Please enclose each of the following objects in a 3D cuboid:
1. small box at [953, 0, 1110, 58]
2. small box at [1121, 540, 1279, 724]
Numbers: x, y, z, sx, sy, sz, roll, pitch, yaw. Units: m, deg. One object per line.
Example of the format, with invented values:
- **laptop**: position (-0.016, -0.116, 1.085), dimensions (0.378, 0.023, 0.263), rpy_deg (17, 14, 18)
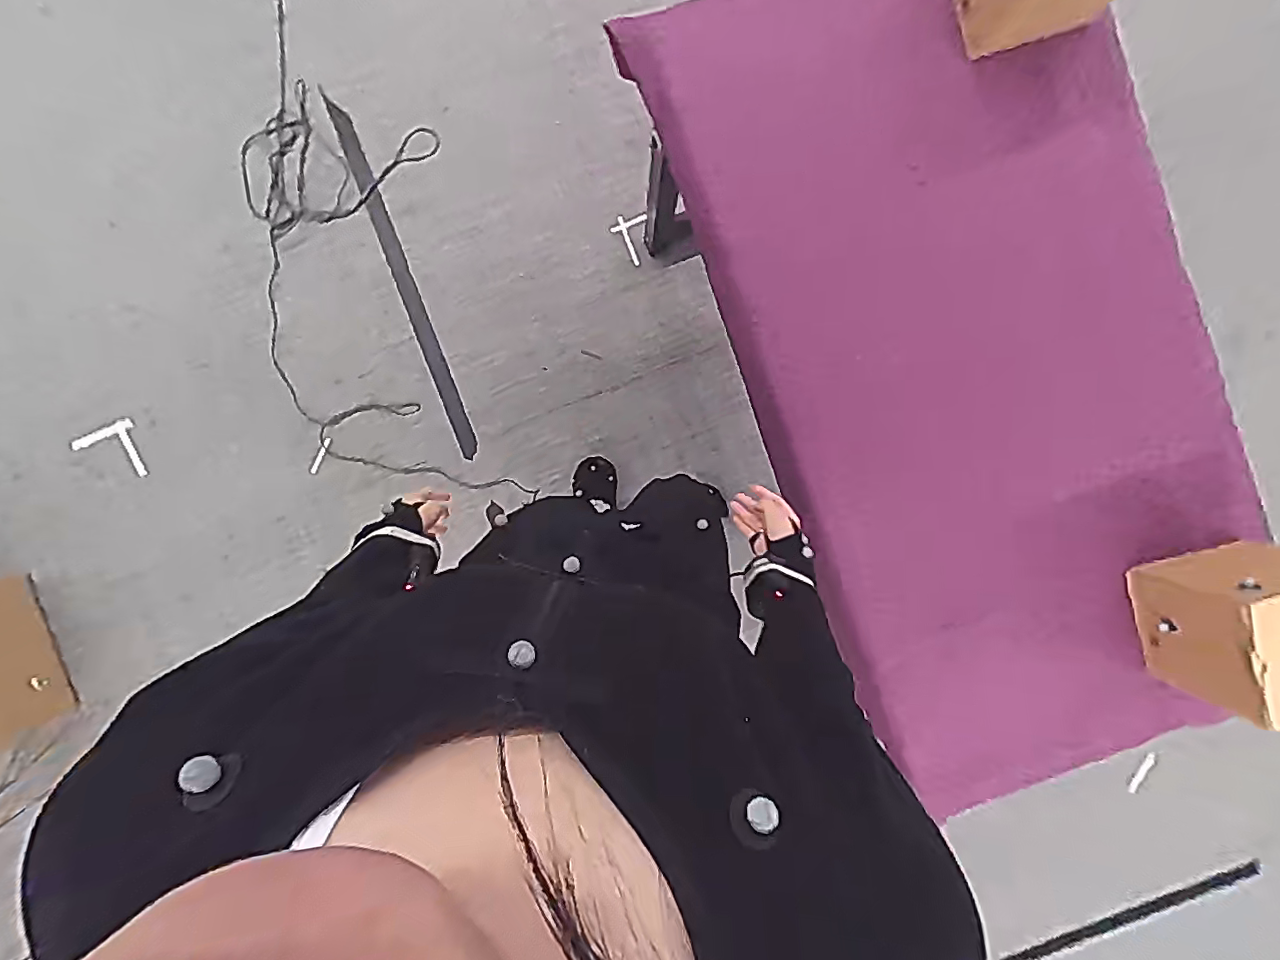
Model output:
- **small box**: position (0.511, -0.670, 0.656), dimensions (0.179, 0.176, 0.168), rpy_deg (-16, 94, 1)
- **small box**: position (0.817, 0.191, 0.729), dimensions (0.179, 0.176, 0.168), rpy_deg (-16, 94, 4)
